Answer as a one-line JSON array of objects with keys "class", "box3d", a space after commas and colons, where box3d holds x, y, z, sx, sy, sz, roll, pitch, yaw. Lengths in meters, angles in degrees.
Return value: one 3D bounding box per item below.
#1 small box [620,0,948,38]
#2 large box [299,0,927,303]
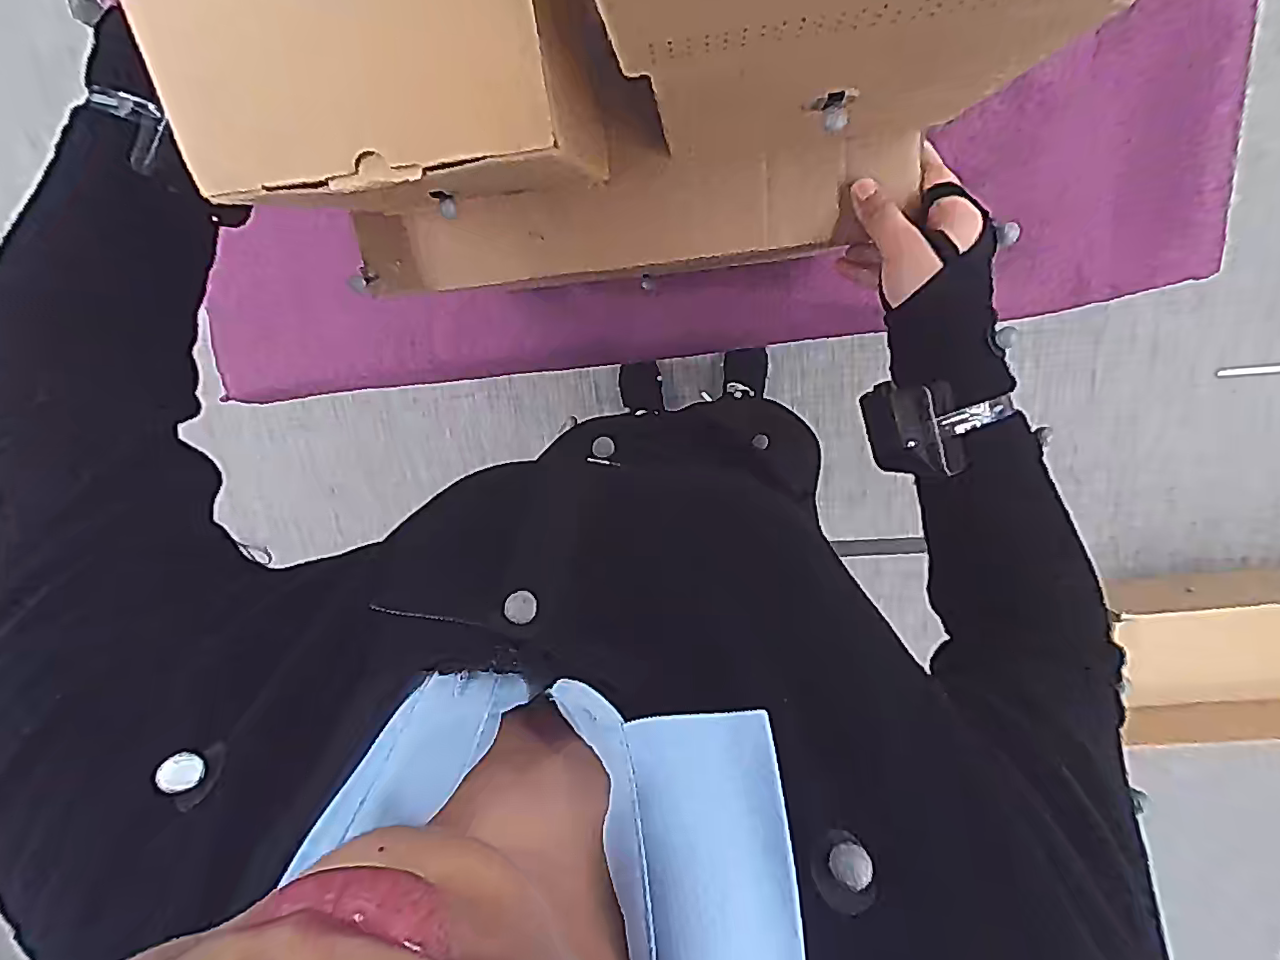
[{"class": "small box", "box3d": [0.063, -0.212, 0.090, 0.179, 0.176, 0.168, -3, 110, 7]}, {"class": "large box", "box3d": [-0.010, -0.350, 0.482, 0.408, 0.320, 0.320, -5, 109, 7]}]
